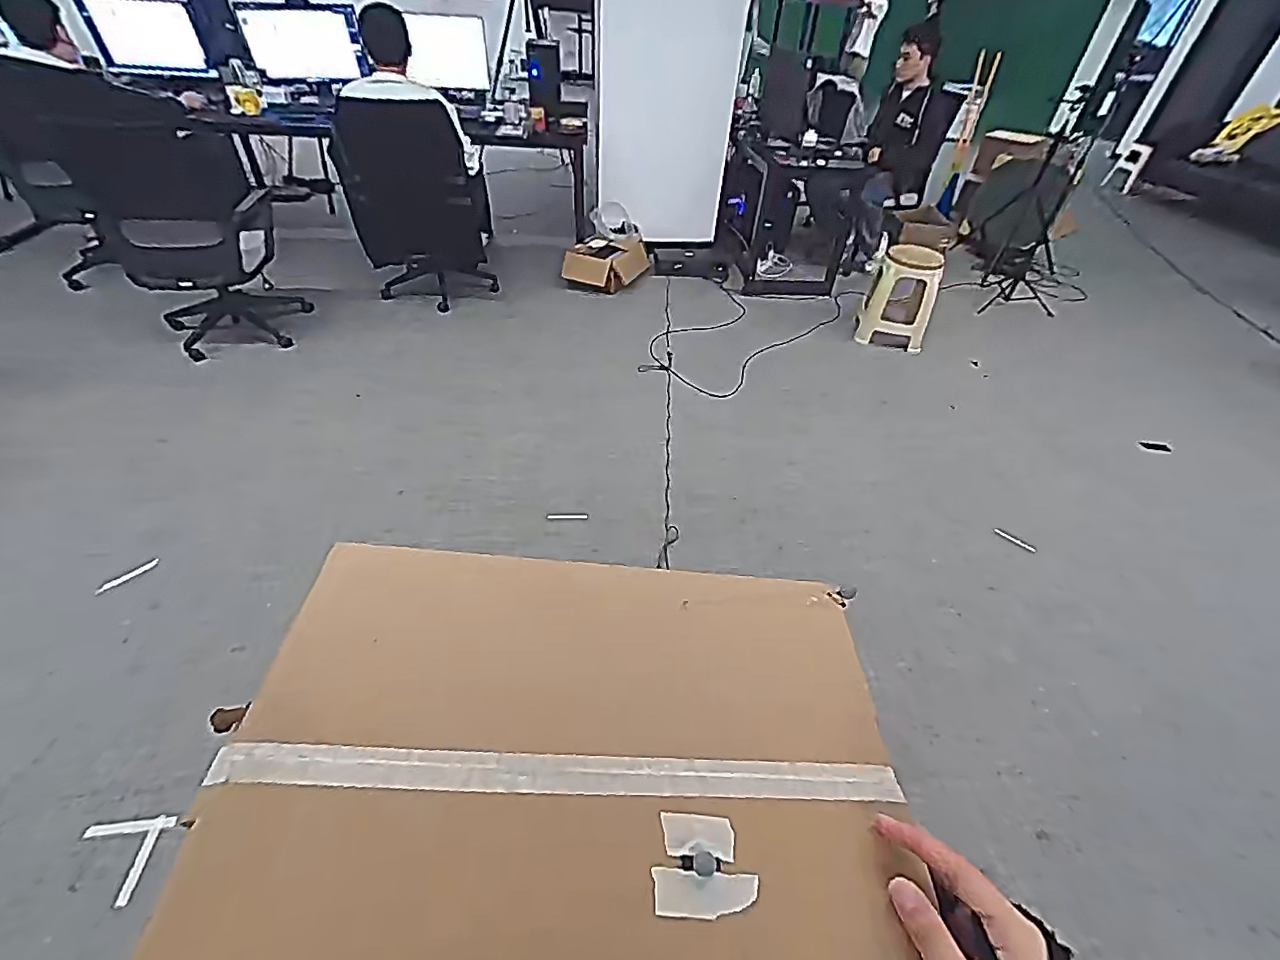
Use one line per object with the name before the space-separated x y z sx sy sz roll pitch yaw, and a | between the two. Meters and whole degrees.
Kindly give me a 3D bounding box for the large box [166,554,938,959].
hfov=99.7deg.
large box | -0.056 0.287 0.444 0.408 0.320 0.320 6 46 -7
